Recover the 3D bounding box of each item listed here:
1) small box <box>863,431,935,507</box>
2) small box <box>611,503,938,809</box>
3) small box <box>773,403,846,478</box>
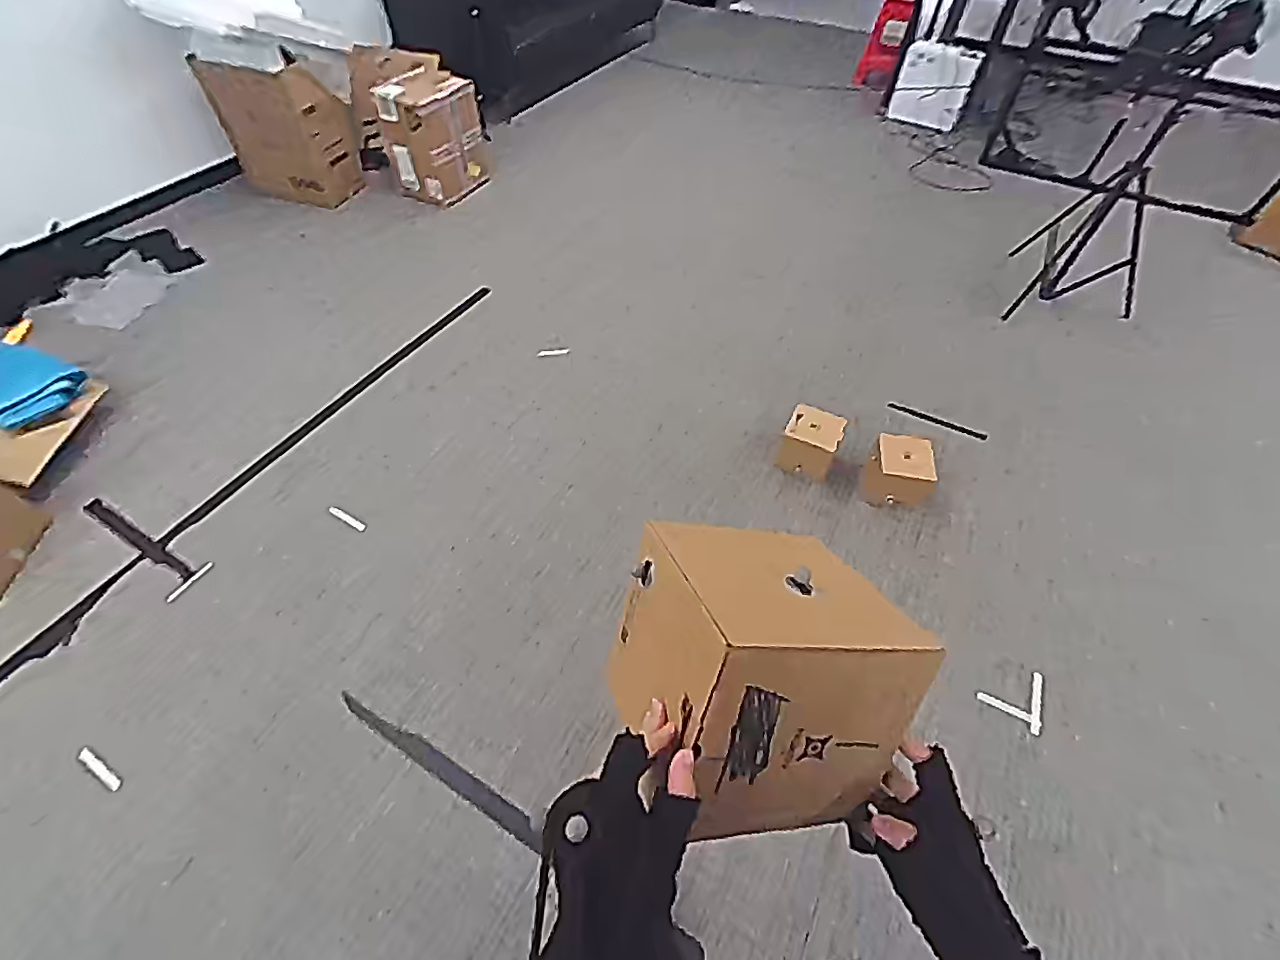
[{"bbox_3d":[0.855,-0.035,1.802,0.168,0.176,0.179,8,54,7],"label":"small box"},{"bbox_3d":[0.087,0.130,0.443,0.179,0.168,0.176,8,20,-20],"label":"small box"},{"bbox_3d":[0.582,-0.131,1.870,0.179,0.176,0.168,24,56,16],"label":"small box"}]
